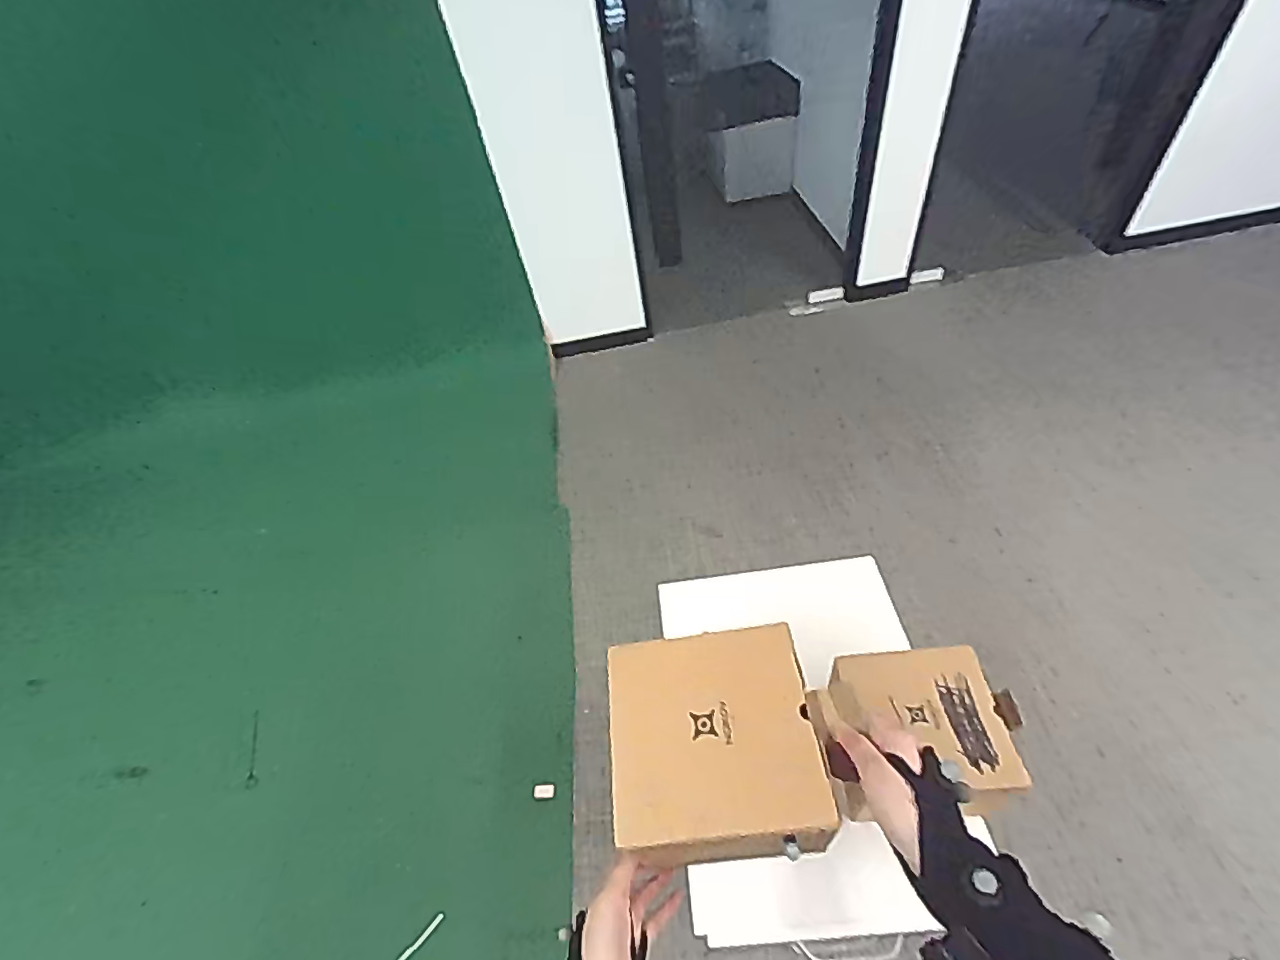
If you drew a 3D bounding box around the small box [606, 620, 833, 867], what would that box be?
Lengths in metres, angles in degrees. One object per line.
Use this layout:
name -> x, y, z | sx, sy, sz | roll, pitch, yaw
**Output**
small box -> 0.071, 0.259, 0.524 | 0.179, 0.176, 0.168 | -9, 48, 4
